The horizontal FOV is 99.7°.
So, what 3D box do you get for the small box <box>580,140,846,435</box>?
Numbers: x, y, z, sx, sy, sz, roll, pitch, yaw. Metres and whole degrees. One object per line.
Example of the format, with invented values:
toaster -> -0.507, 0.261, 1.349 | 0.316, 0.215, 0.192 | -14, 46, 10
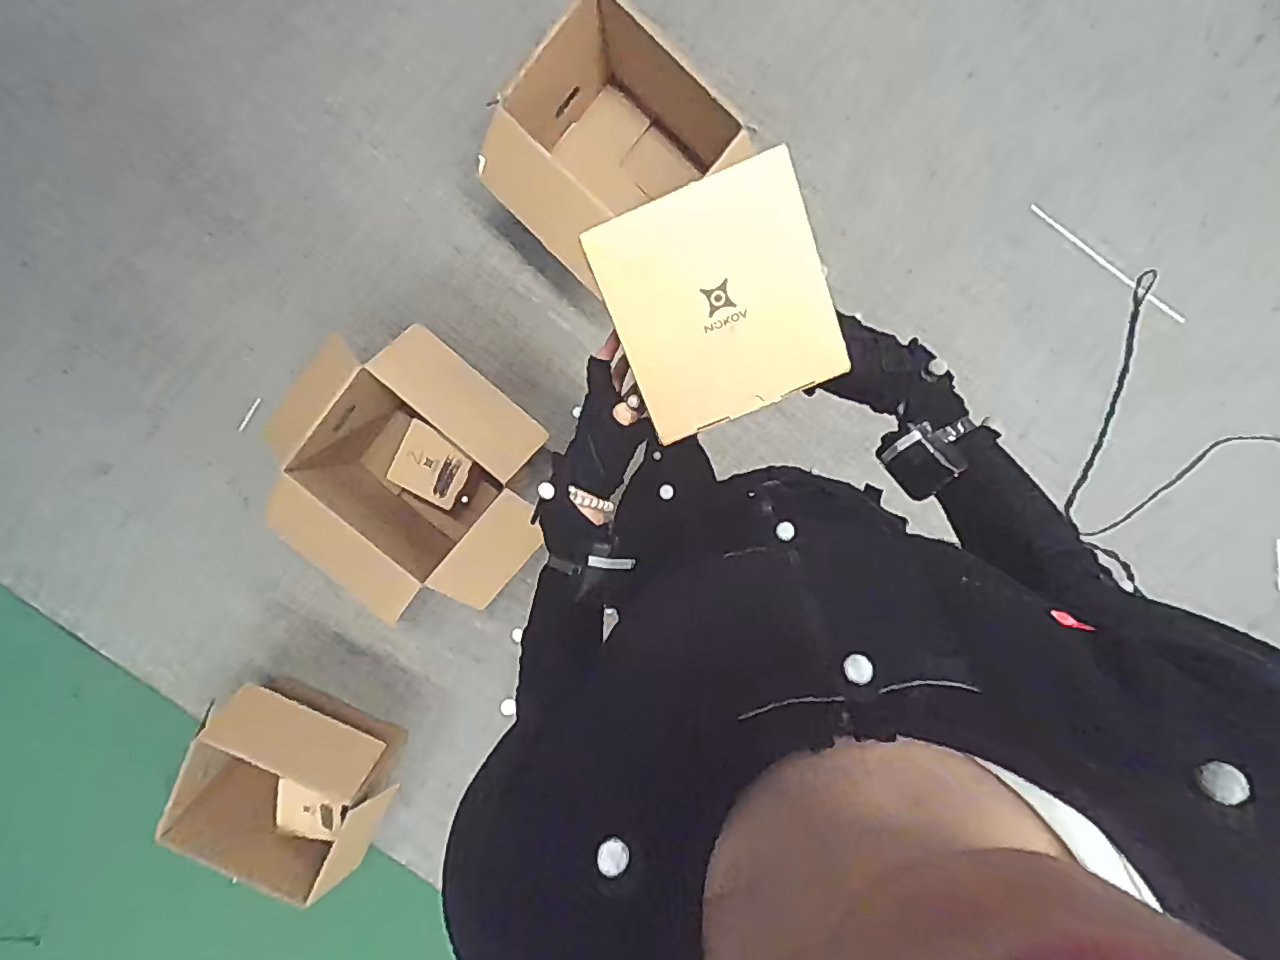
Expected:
small box -> 0.056, -0.161, 0.493 | 0.168, 0.176, 0.179 | -22, 105, 4
